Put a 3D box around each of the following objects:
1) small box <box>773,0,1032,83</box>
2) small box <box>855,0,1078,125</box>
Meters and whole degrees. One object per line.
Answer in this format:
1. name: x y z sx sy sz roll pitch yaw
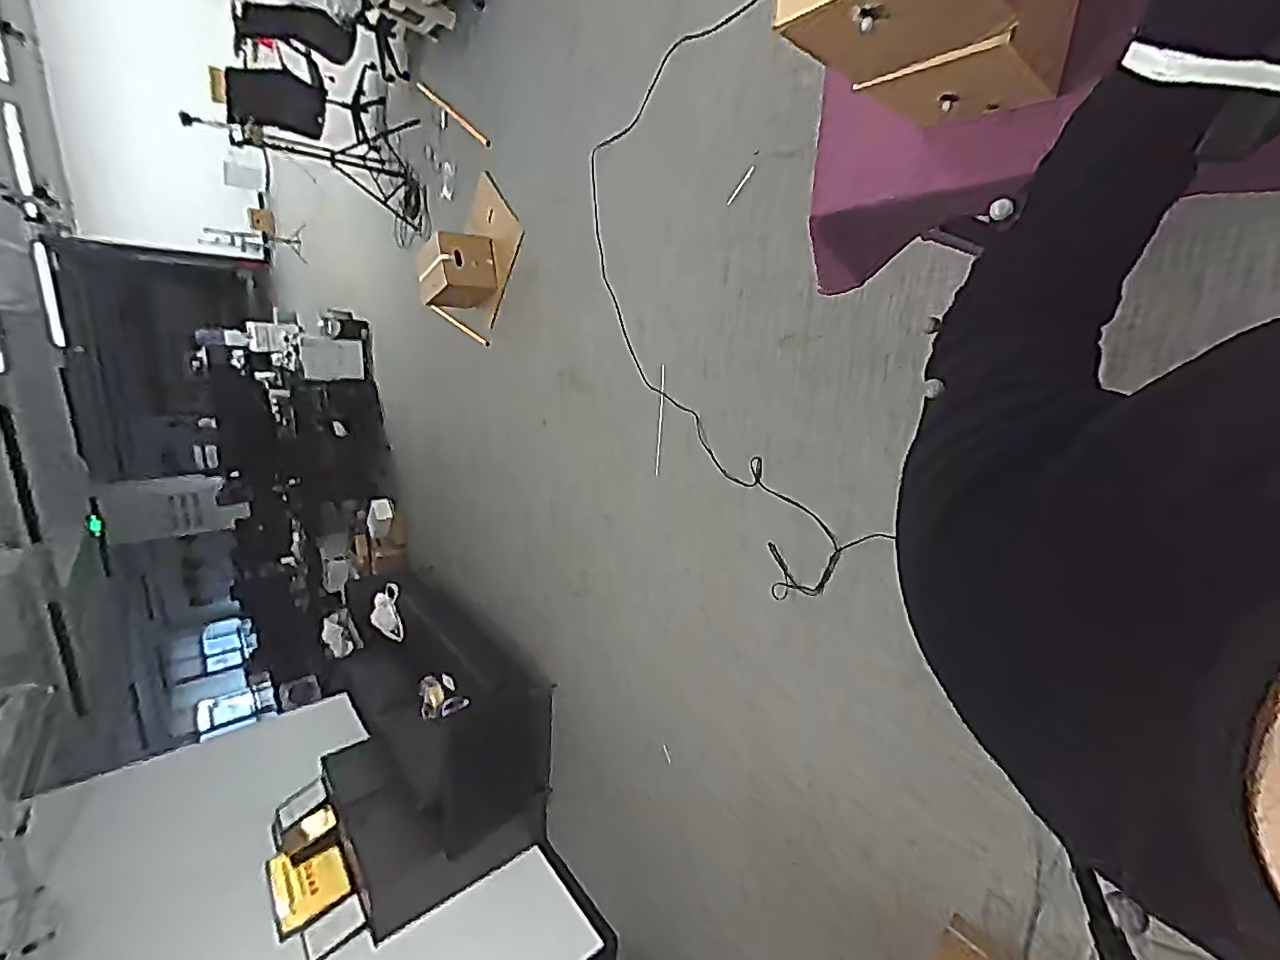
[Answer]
1. small box: 0.253 -0.508 0.503 0.179 0.176 0.168 19 112 46
2. small box: 0.373 -0.528 0.611 0.168 0.176 0.179 21 112 46
